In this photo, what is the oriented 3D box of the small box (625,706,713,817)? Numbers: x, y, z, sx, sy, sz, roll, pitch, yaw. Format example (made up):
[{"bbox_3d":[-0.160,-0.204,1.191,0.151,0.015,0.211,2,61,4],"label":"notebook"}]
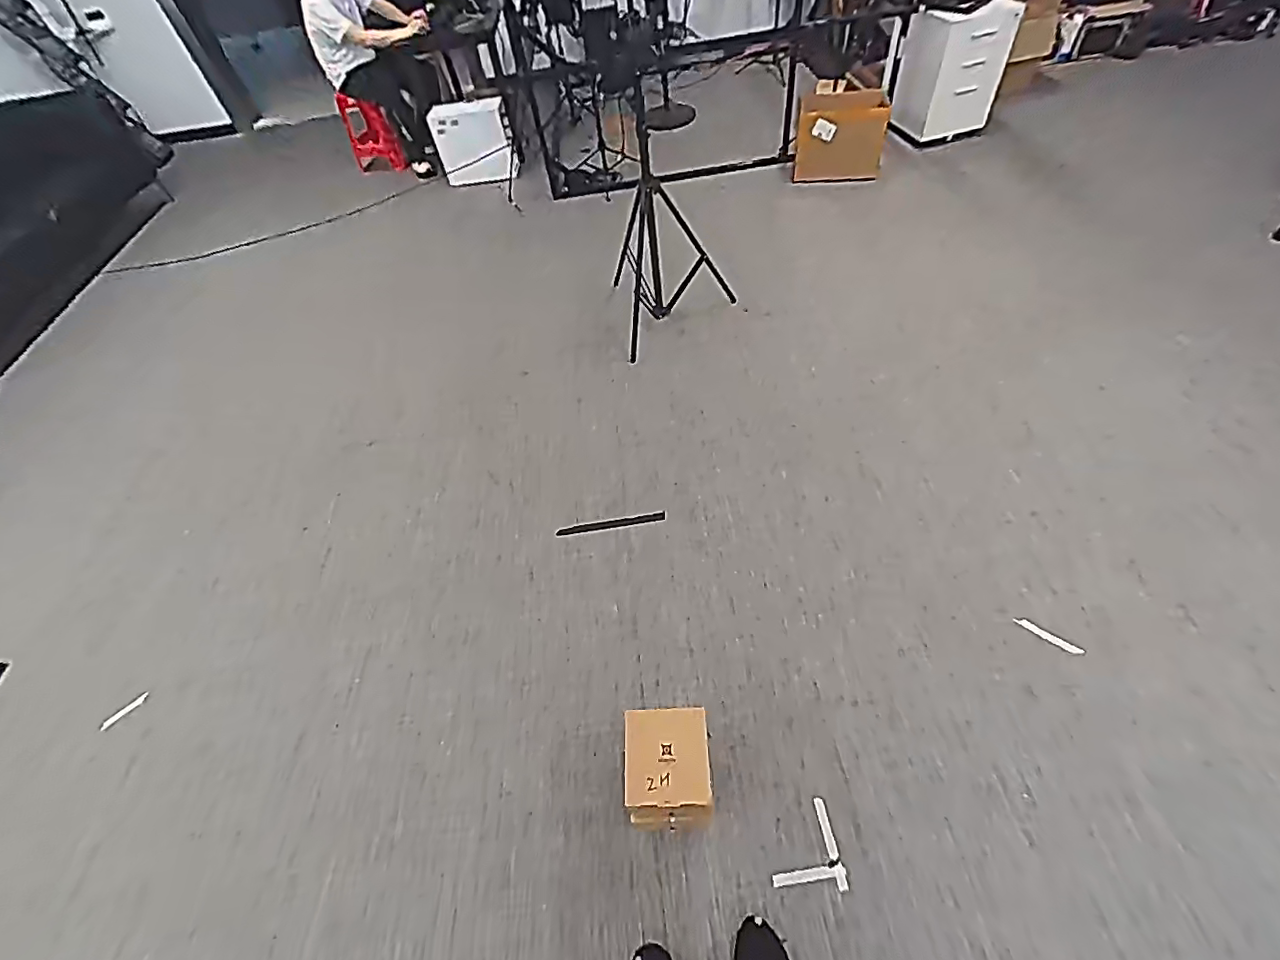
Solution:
[{"bbox_3d":[0.062,0.583,1.115,0.168,0.176,0.179,-5,52,6],"label":"small box"}]
